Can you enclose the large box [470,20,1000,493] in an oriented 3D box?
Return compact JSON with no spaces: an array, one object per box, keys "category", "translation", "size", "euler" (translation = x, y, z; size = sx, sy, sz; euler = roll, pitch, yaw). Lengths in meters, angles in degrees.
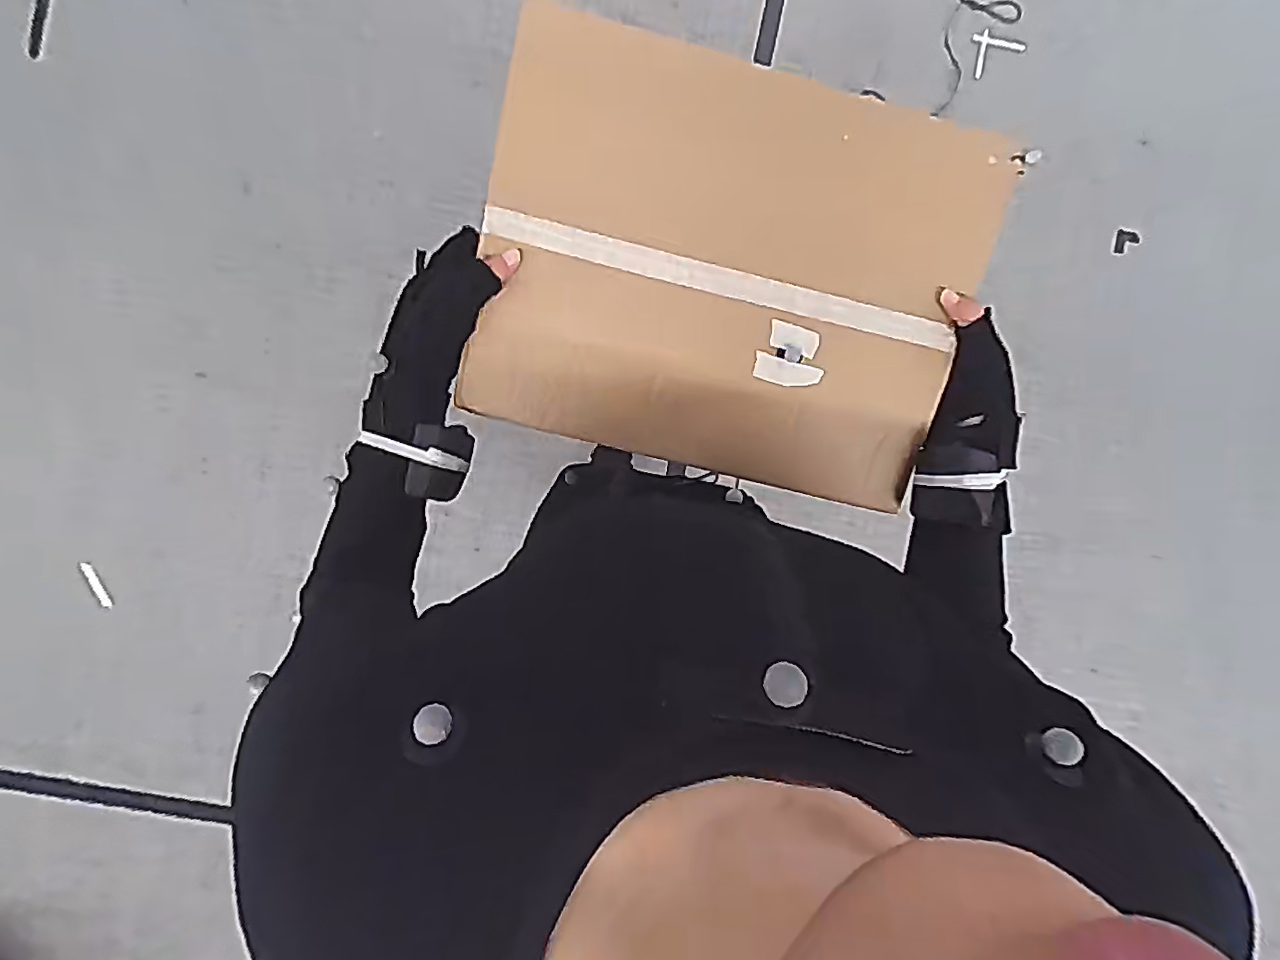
[{"category":"large box","translation":[0.067,-0.205,0.607],"size":[0.408,0.320,0.320],"euler":[13,103,-5]}]
